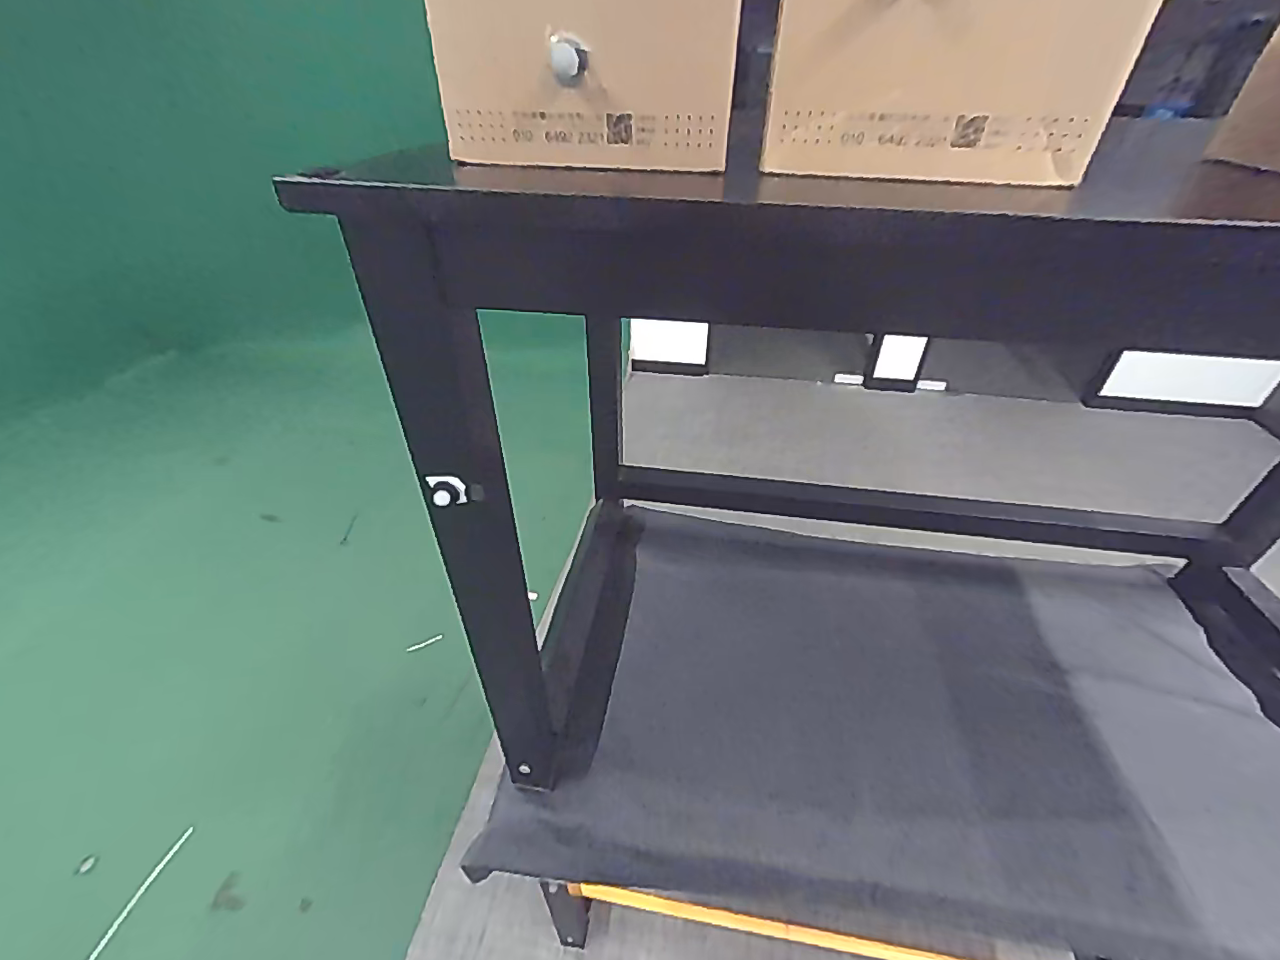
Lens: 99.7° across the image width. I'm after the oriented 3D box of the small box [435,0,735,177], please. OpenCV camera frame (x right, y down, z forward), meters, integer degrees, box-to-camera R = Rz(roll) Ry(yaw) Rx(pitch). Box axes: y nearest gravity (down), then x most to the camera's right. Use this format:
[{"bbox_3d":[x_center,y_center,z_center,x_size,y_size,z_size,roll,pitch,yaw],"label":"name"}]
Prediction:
[{"bbox_3d":[-0.024,-0.303,0.341,0.168,0.176,0.179,5,38,6],"label":"small box"}]
